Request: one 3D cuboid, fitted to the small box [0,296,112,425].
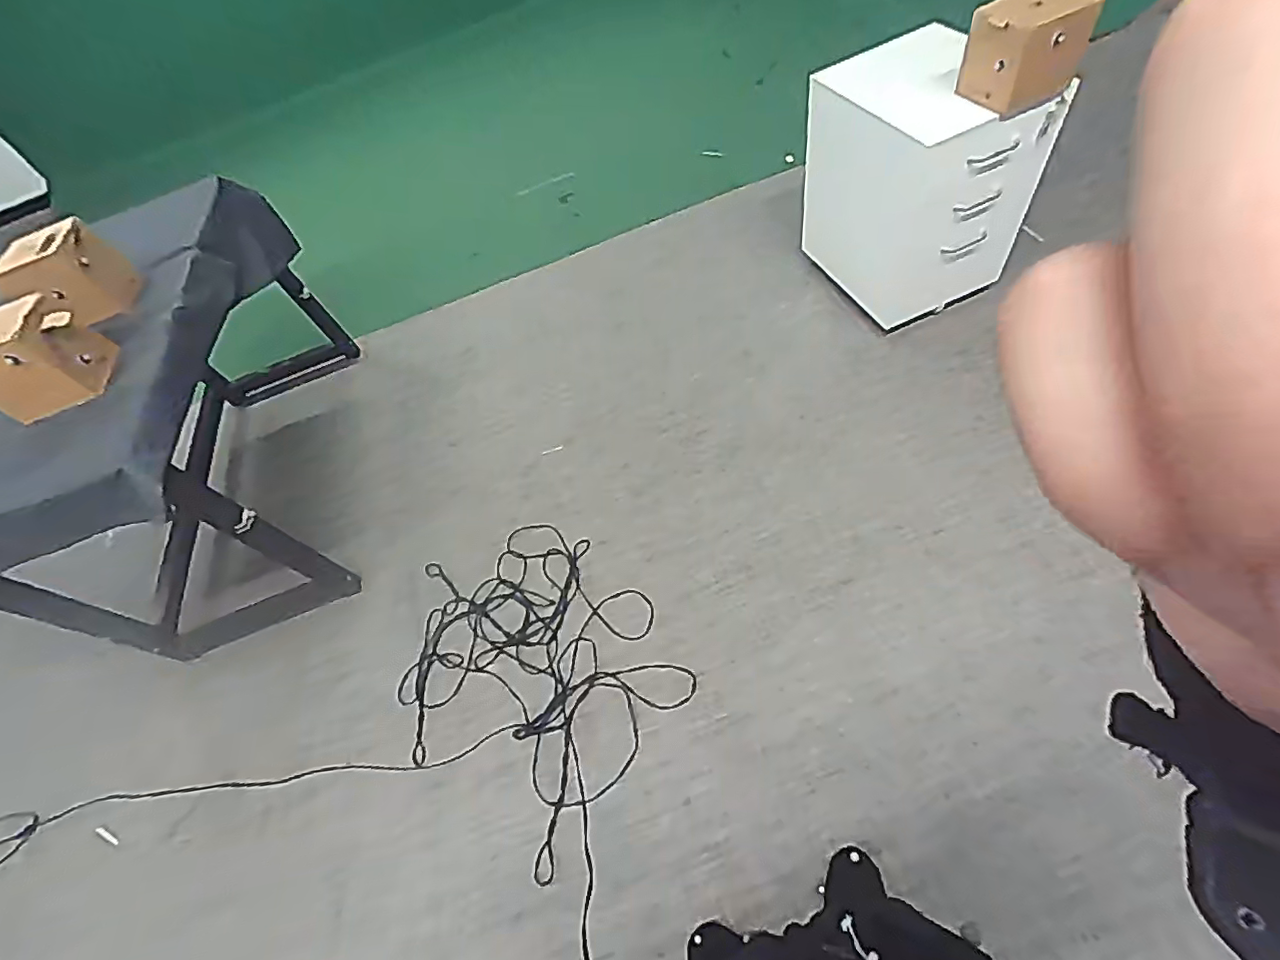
[{"bbox_3d":[-1.277,-0.242,1.123,0.179,0.176,0.168,-22,55,-1],"label":"small box"}]

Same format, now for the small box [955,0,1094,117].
[{"bbox_3d":[0.845,-0.958,1.217,0.179,0.176,0.168,-24,56,-3],"label":"small box"}]
